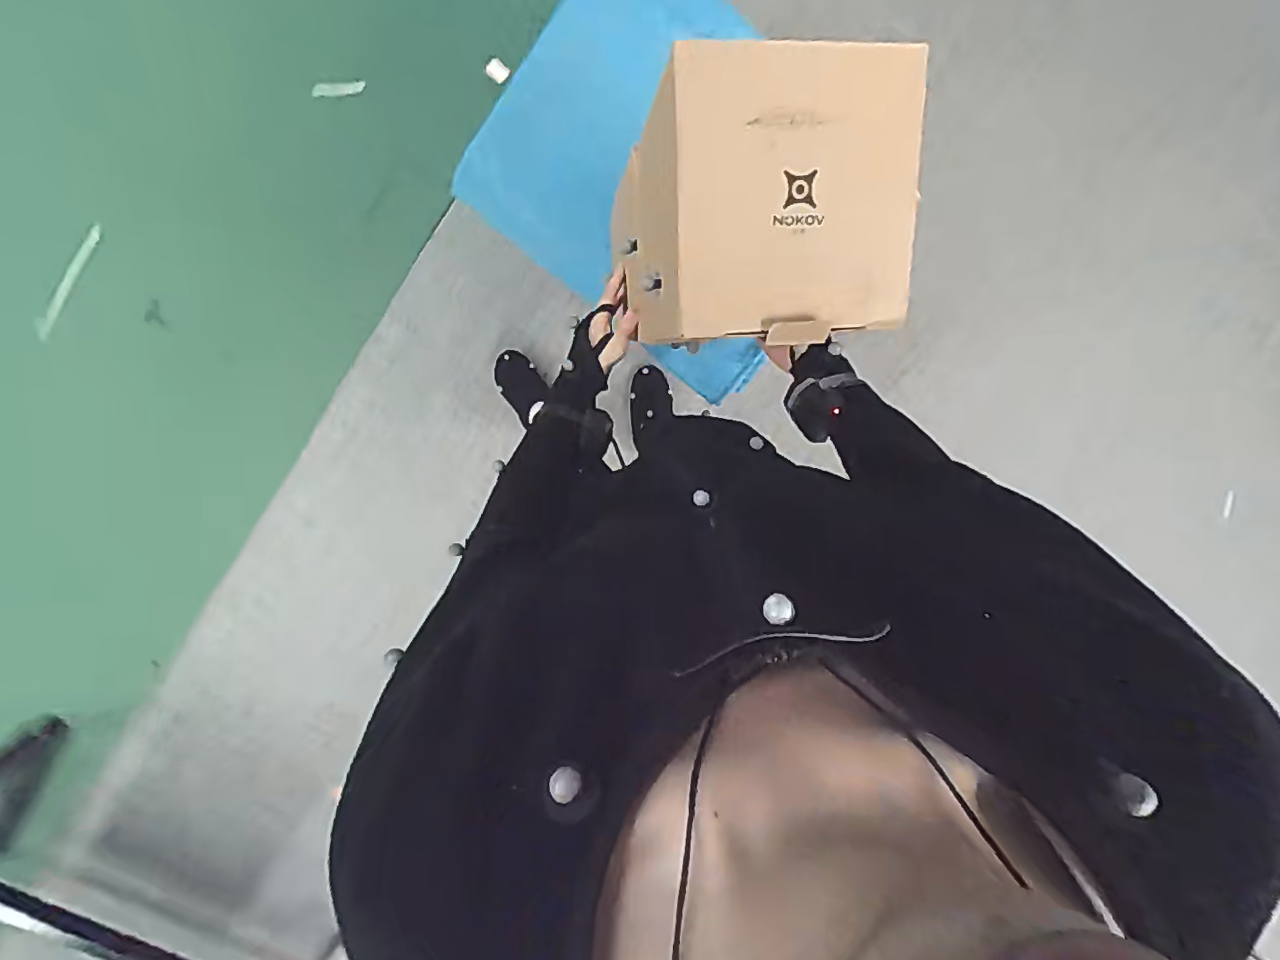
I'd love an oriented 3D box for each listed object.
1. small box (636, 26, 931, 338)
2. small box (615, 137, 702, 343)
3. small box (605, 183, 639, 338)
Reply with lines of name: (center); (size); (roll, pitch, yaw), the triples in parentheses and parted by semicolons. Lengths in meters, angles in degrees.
small box: (0.091, -0.205, 0.419); (0.168, 0.176, 0.179); (-5, 104, -7)
small box: (0.068, -0.244, 0.576); (0.168, 0.176, 0.179); (-8, 105, -6)
small box: (0.043, -0.287, 0.731); (0.168, 0.176, 0.179); (-5, 105, -7)
